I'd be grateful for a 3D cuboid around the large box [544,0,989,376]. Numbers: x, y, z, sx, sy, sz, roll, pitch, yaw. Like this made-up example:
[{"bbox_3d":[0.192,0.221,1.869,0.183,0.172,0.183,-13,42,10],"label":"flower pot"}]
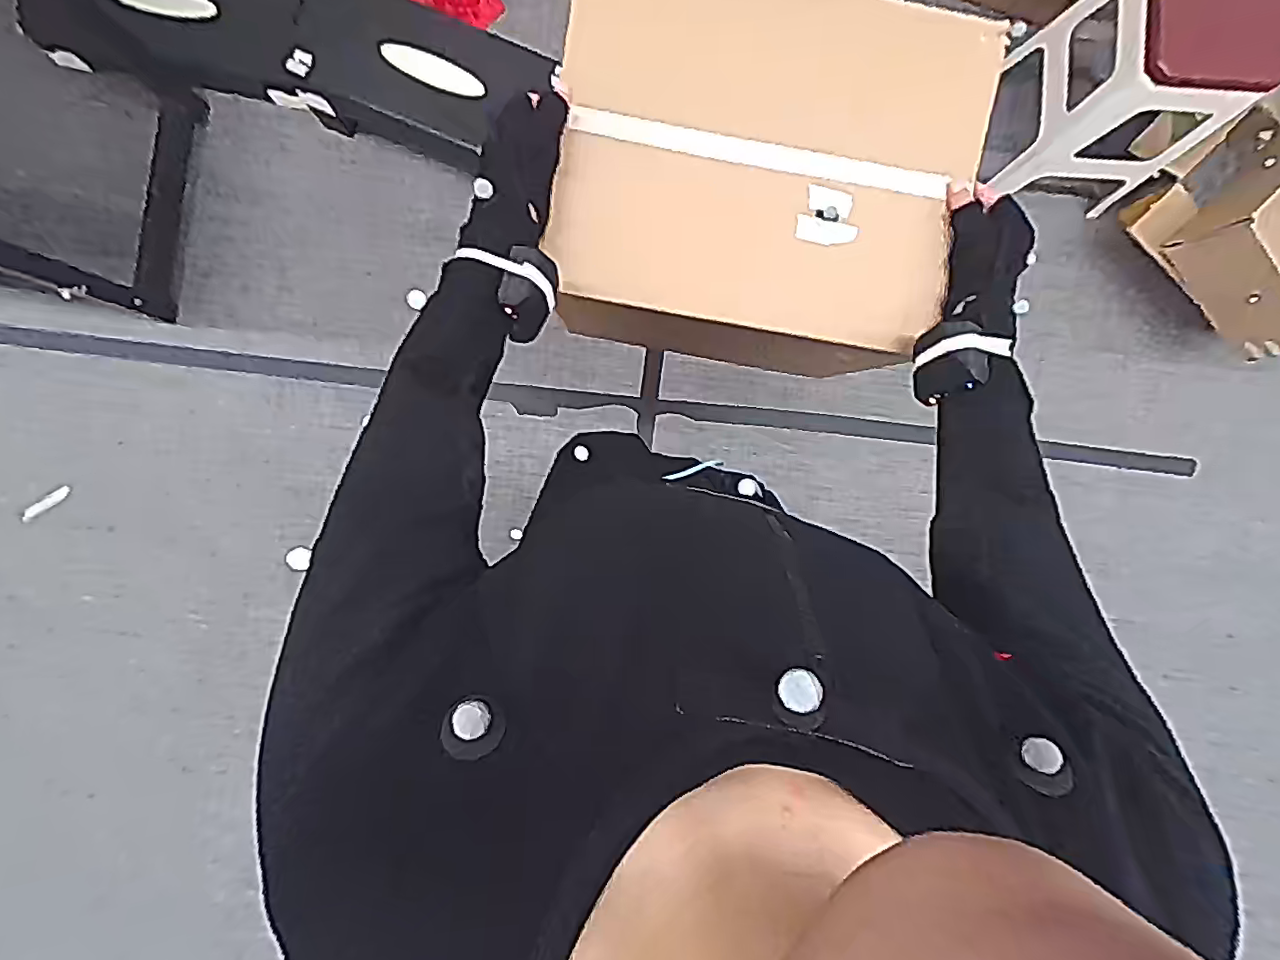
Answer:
[{"bbox_3d":[0.115,-0.325,0.678,0.408,0.320,0.320,10,97,-3],"label":"large box"}]
